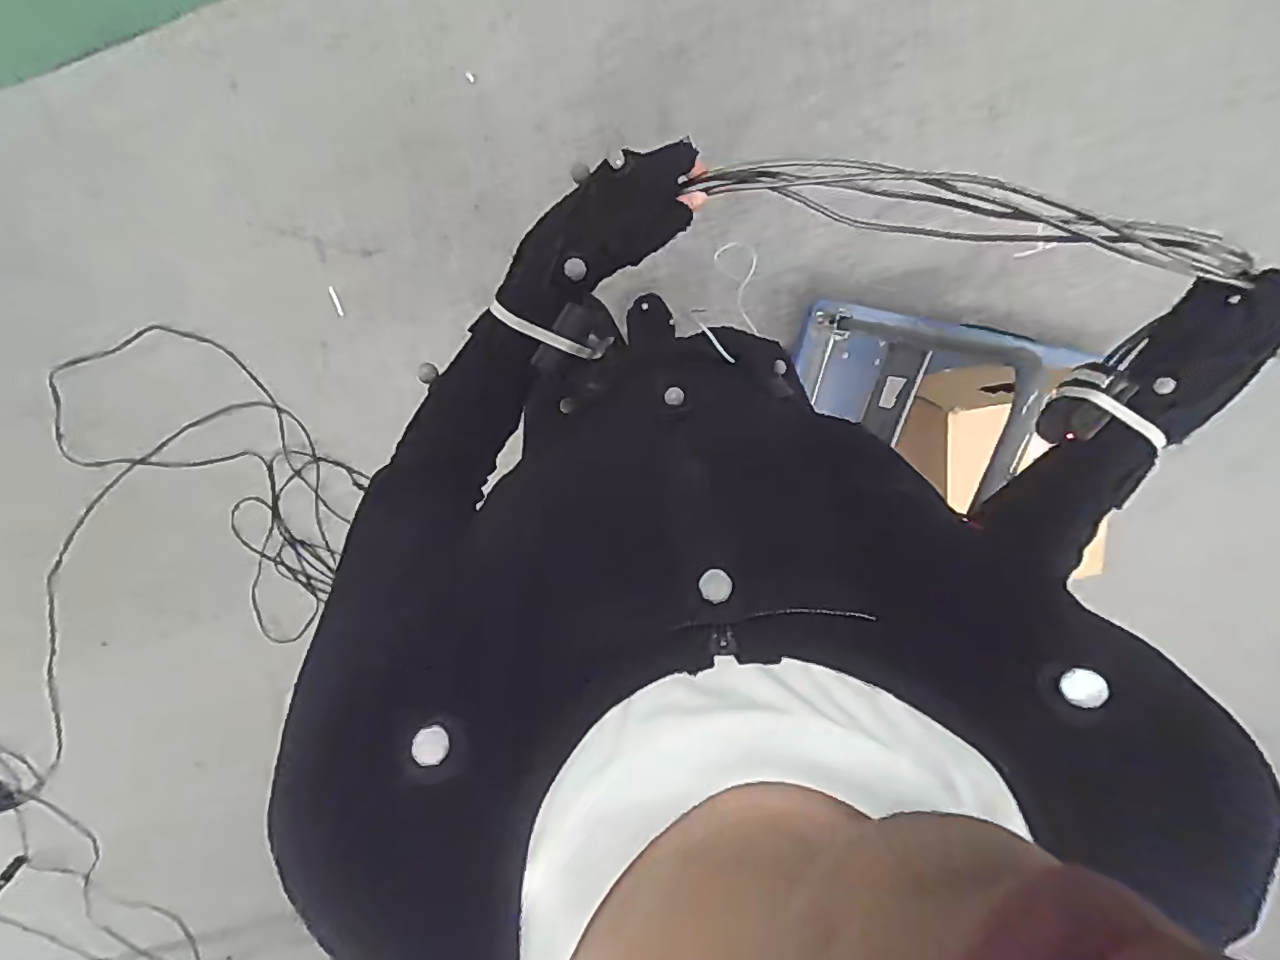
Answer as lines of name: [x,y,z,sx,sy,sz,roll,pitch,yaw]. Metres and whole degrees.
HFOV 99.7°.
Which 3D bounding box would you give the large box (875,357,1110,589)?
large box: [0.737,-0.030,1.185,0.320,0.320,0.408,-10,109,2]
